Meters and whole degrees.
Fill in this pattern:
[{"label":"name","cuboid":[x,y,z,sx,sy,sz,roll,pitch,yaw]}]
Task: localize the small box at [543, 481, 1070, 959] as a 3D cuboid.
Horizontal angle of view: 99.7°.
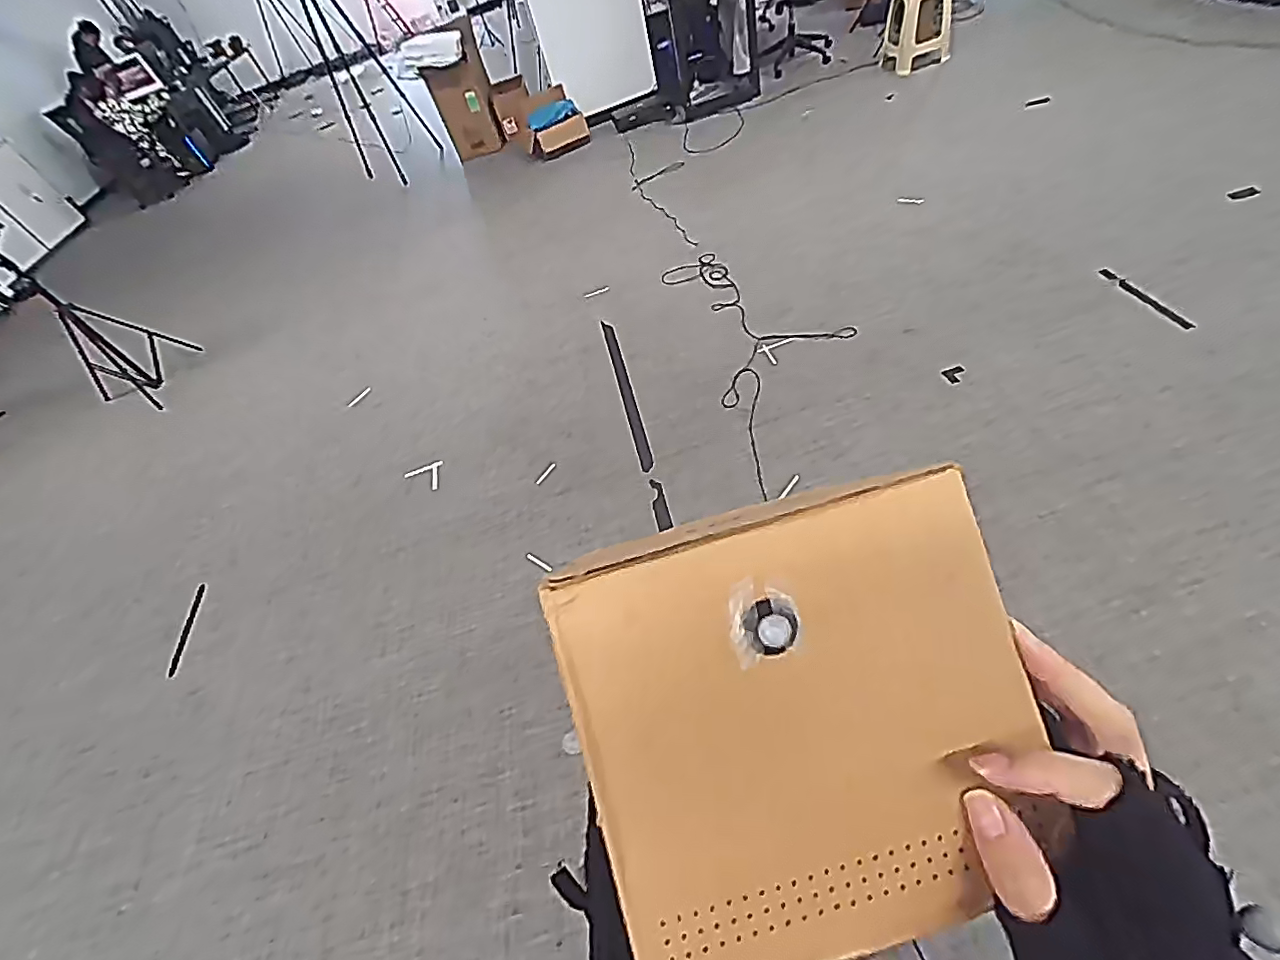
[{"label":"small box","cuboid":[0.067,0.110,0.286,0.179,0.168,0.176,-16,86,-1]}]
